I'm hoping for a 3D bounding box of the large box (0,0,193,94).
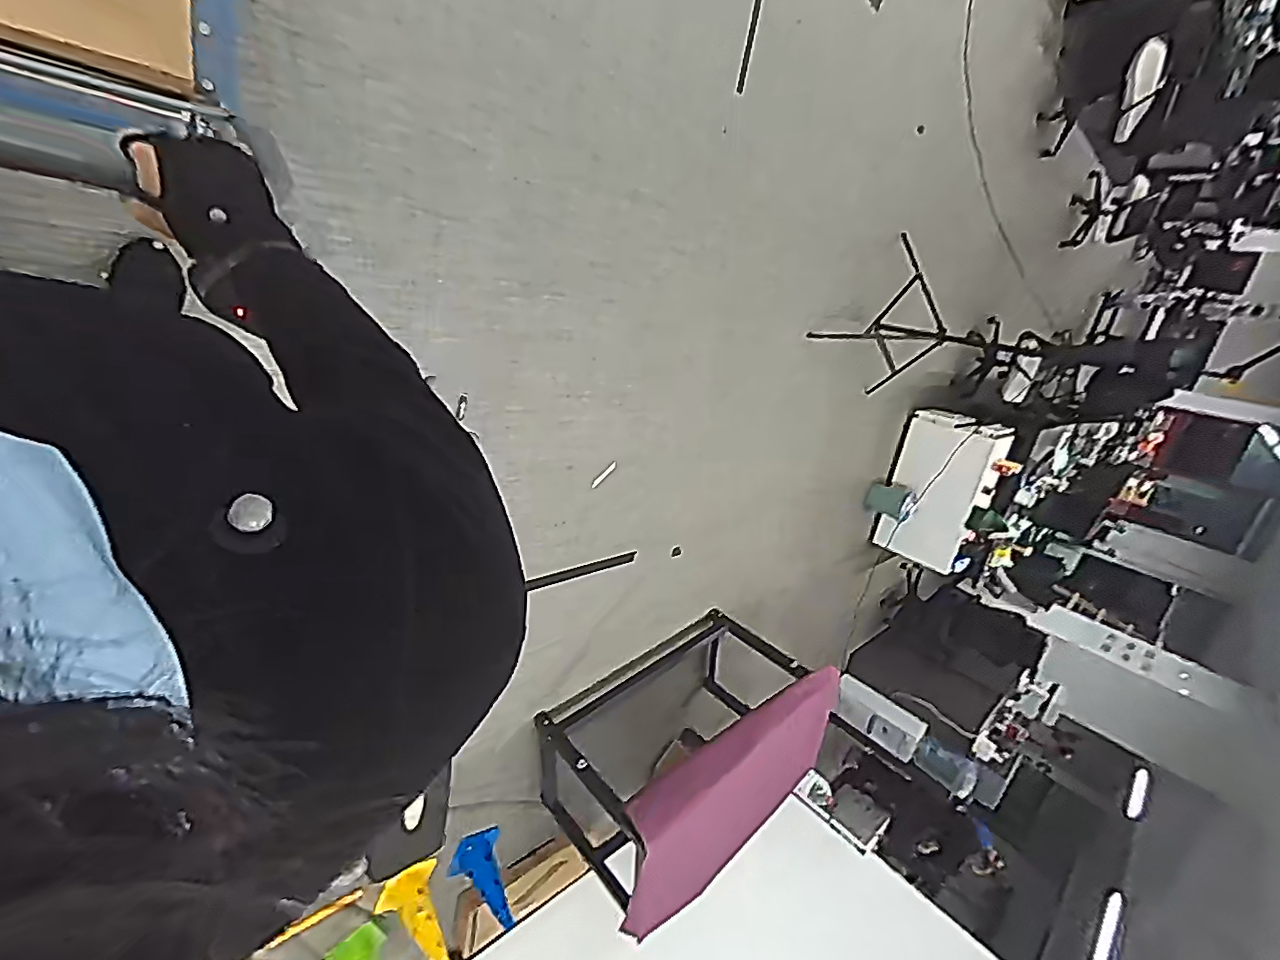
[{"bbox_3d":[-0.805,-0.700,0.625,0.408,0.320,0.320,-7,122,-44],"label":"large box"}]
